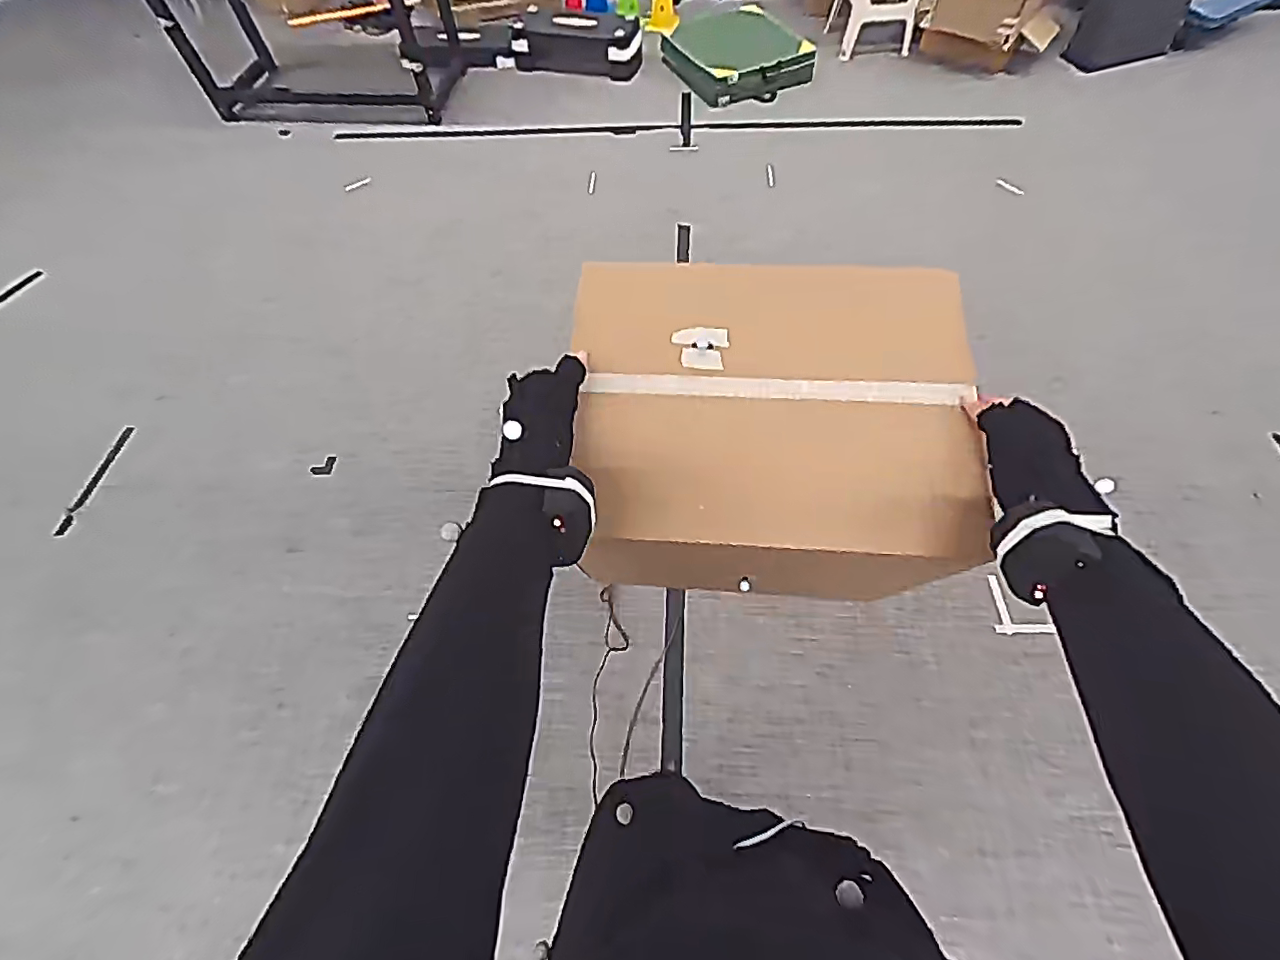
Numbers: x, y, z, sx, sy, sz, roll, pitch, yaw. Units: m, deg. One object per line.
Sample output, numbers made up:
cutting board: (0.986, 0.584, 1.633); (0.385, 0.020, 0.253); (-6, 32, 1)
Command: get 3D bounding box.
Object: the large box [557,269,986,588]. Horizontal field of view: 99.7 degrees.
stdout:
large box: (0.138, -0.040, 0.691); (0.408, 0.320, 0.320); (3, 70, 6)
